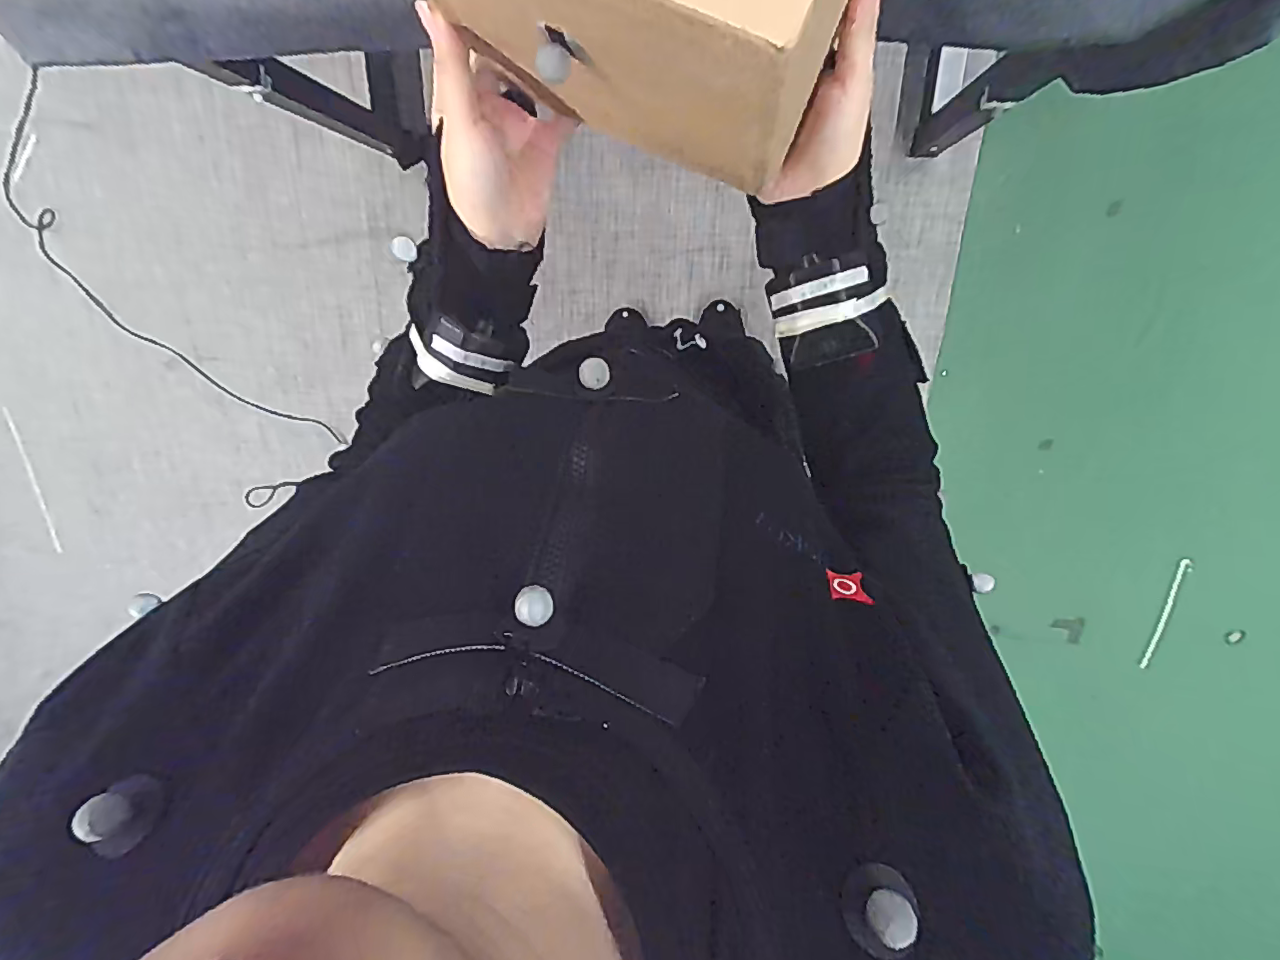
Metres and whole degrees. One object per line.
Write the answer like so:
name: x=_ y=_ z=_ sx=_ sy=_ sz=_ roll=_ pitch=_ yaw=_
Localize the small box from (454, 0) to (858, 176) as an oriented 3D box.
small box: x=0.015 y=-0.257 z=0.224 sx=0.179 sy=0.176 sz=0.168 roll=25 pitch=107 yaw=4
